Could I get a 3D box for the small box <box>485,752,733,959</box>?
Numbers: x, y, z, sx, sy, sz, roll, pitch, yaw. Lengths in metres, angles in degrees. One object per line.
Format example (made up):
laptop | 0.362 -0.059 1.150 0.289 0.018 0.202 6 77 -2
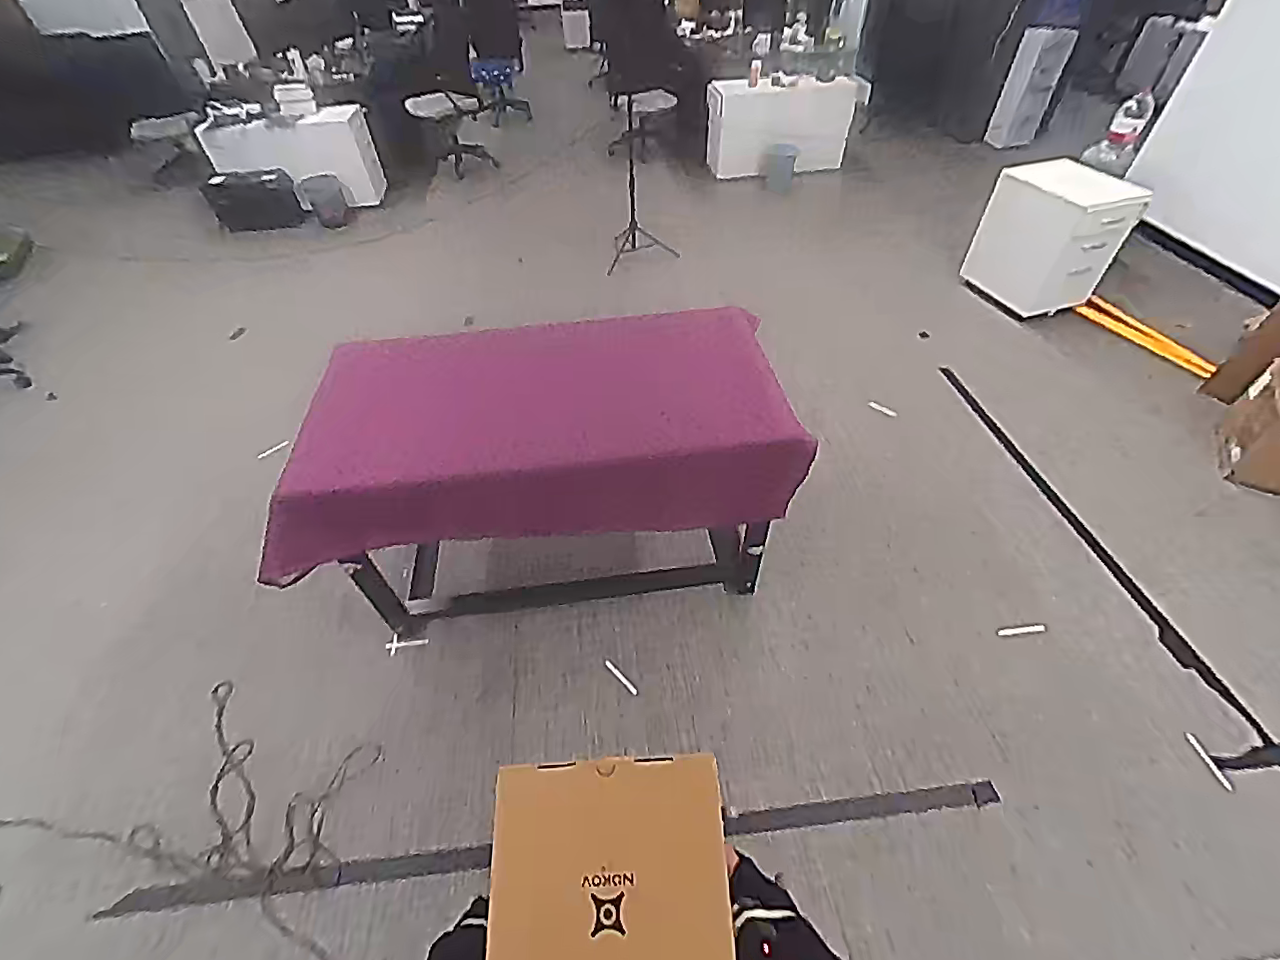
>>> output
small box | -0.016 0.322 0.435 0.168 0.176 0.179 -4 60 2
